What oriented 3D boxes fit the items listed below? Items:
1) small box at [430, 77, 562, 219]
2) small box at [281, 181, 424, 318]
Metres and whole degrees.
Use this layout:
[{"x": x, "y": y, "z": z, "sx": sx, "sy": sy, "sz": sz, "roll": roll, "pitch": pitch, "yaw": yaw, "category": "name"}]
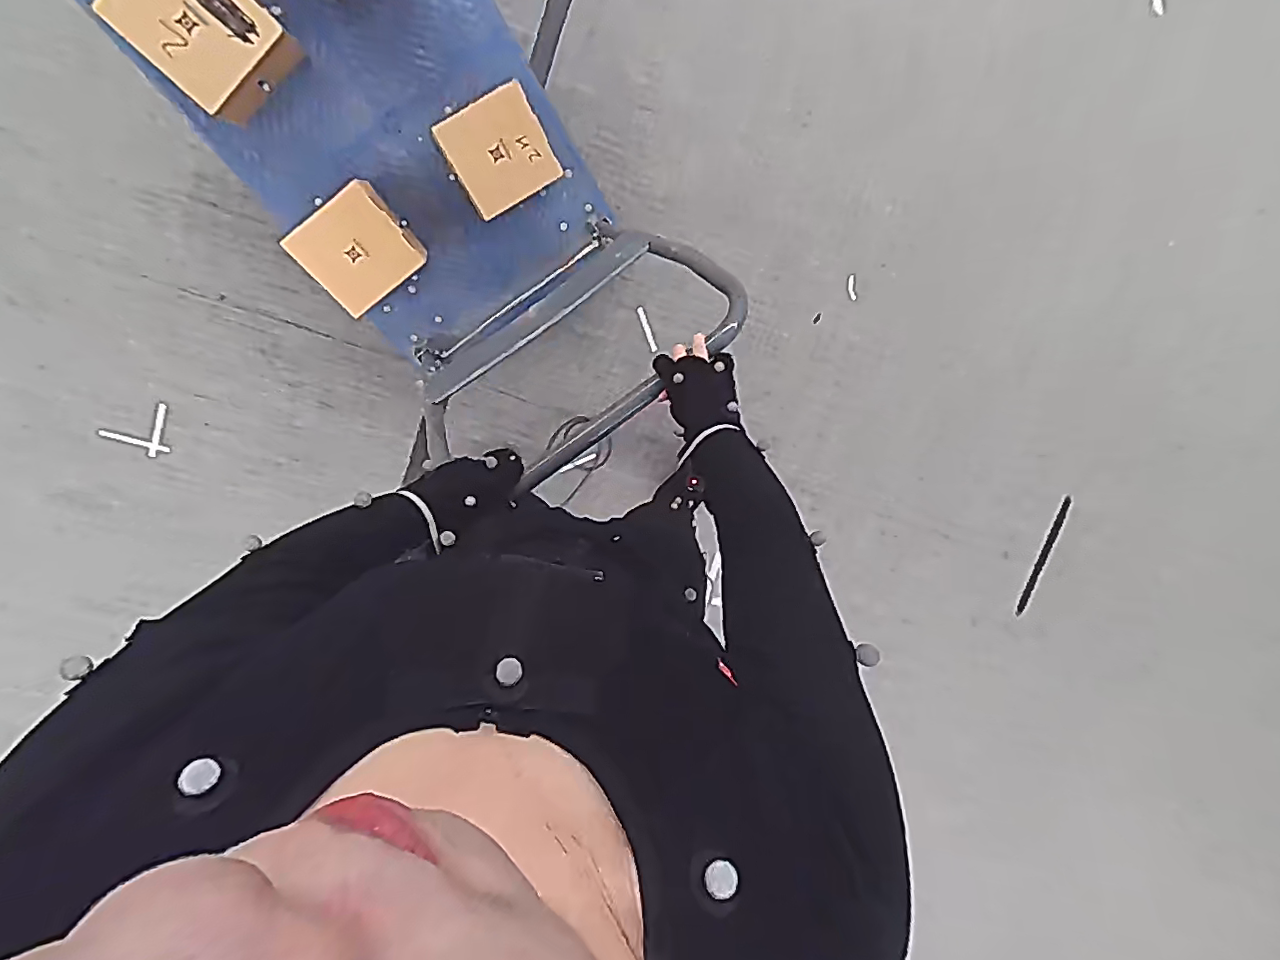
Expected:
[{"x": -0.275, "y": -0.624, "z": 1.034, "sx": 0.179, "sy": 0.176, "sz": 0.168, "roll": -33, "pitch": 124, "yaw": -2, "category": "small box"}, {"x": -0.534, "y": -0.440, "z": 1.035, "sx": 0.179, "sy": 0.176, "sz": 0.168, "roll": -40, "pitch": 123, "yaw": 1, "category": "small box"}]
